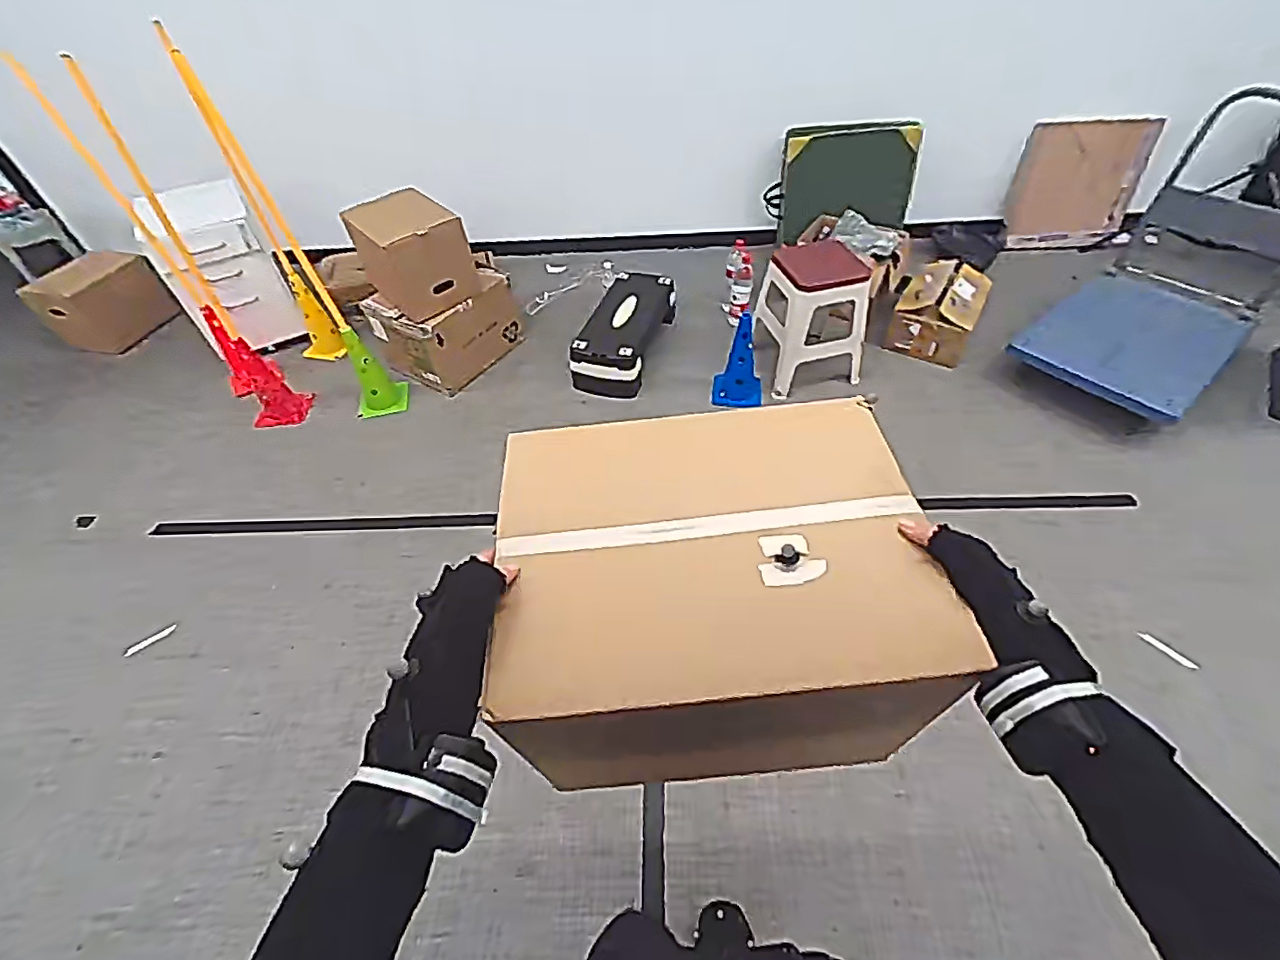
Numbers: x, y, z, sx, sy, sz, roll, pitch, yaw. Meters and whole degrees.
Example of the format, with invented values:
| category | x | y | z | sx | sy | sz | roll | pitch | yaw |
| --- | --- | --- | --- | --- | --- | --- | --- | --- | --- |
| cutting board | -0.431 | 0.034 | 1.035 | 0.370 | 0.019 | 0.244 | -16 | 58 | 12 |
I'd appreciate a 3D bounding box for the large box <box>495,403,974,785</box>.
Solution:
| category | x | y | z | sx | sy | sz | roll | pitch | yaw |
| --- | --- | --- | --- | --- | --- | --- | --- | --- | --- |
| large box | 0.074 | 0.143 | 0.646 | 0.408 | 0.320 | 0.320 | -6 | 51 | 0 |
